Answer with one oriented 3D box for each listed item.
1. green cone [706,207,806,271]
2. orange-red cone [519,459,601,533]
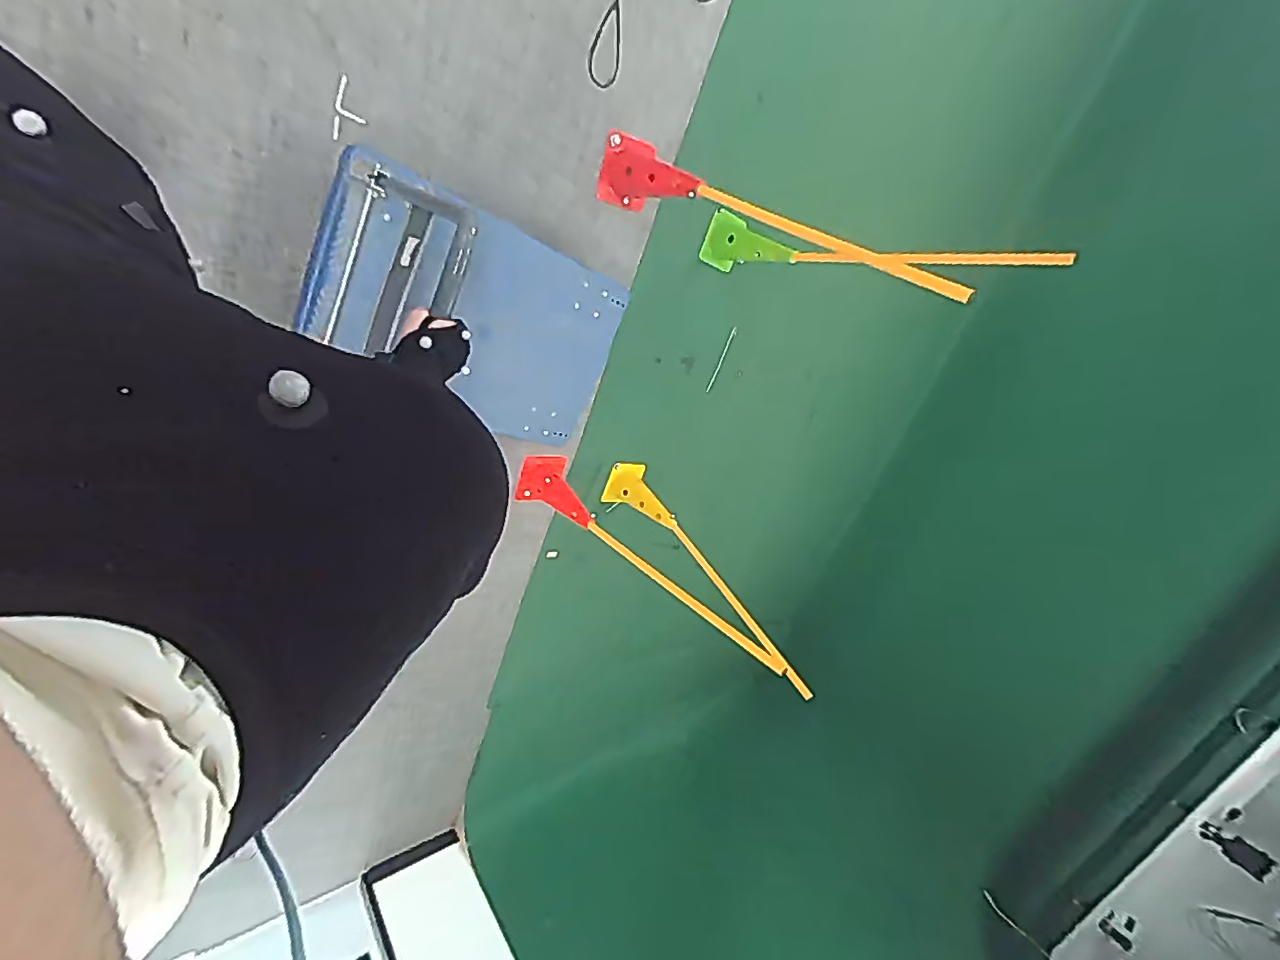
[{"bbox_3d":[0.456,-0.861,2.013,0.202,0.368,0.200,0,117,-46],"label":"green cone"},{"bbox_3d":[-0.264,0.087,2.029,0.199,0.360,0.198,0,119,-46],"label":"orange-red cone"}]
